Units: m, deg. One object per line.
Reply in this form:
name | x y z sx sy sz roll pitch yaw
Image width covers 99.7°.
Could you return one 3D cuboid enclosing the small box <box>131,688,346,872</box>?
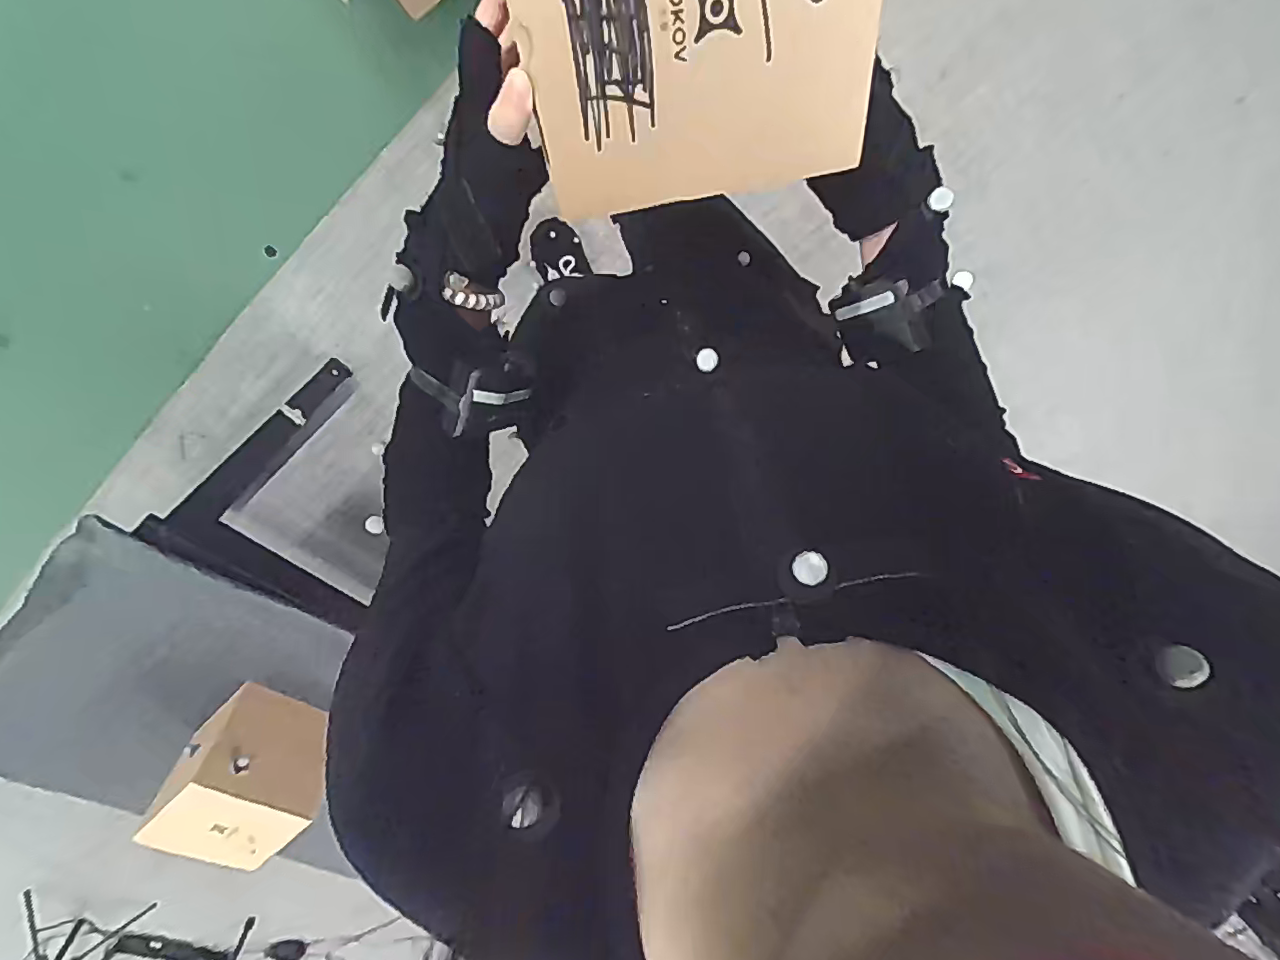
small box | -0.596 0.452 0.829 0.168 0.176 0.179 -41 119 14
